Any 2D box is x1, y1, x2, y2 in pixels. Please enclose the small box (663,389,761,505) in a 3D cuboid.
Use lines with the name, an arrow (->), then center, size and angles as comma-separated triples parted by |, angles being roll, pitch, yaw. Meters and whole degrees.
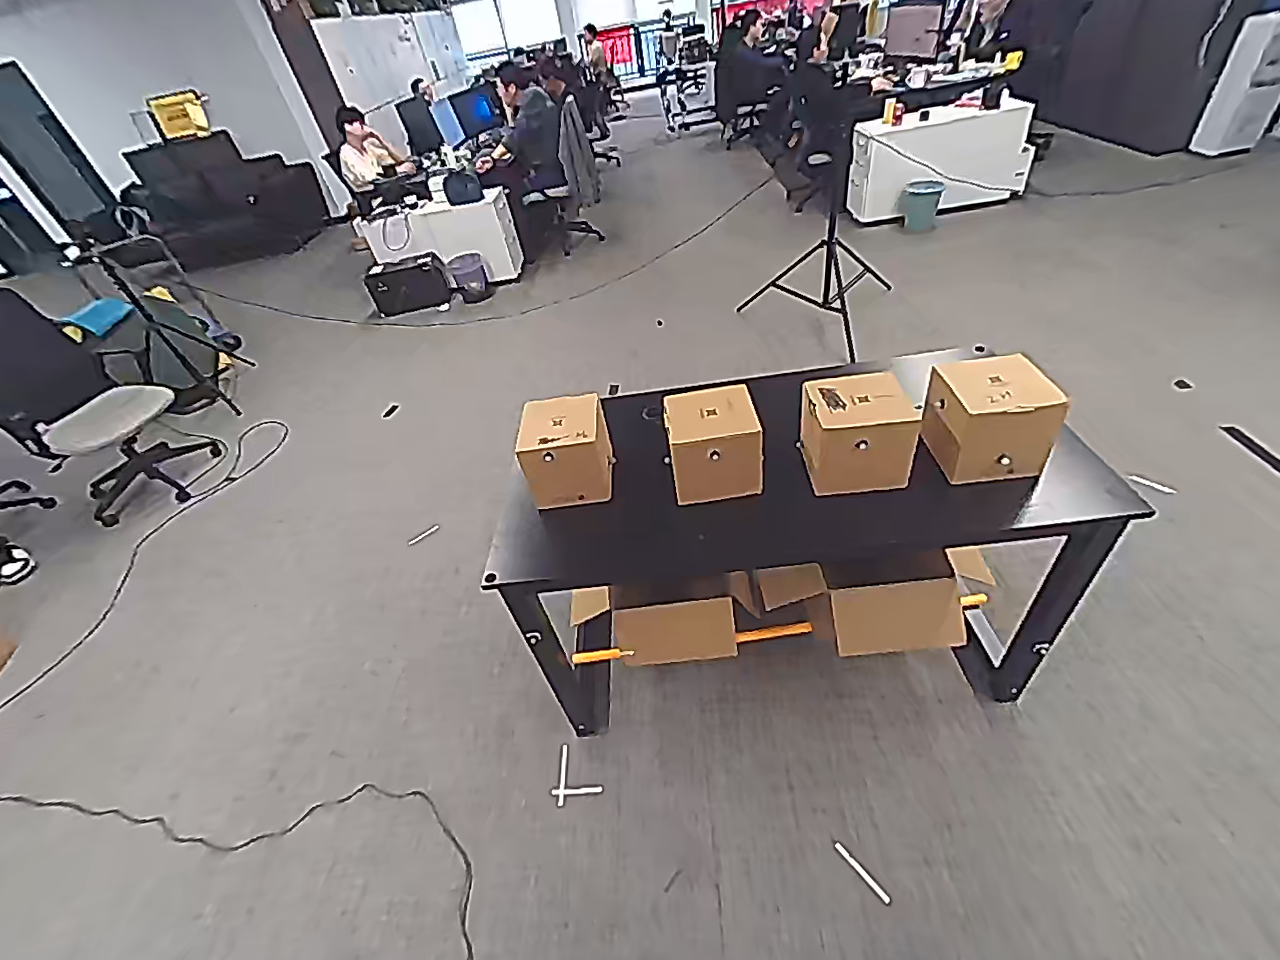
small box -> 0.149, -0.065, 1.120 | 0.179, 0.176, 0.168 | -8, 42, 3

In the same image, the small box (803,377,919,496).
small box -> 0.424, -0.082, 1.070 | 0.179, 0.176, 0.168 | -5, 41, 7

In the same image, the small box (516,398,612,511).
small box -> -0.156, -0.055, 1.178 | 0.168, 0.176, 0.179 | -7, 41, 5

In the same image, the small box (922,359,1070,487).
small box -> 0.666, -0.109, 1.042 | 0.168, 0.176, 0.179 | -6, 41, 8
